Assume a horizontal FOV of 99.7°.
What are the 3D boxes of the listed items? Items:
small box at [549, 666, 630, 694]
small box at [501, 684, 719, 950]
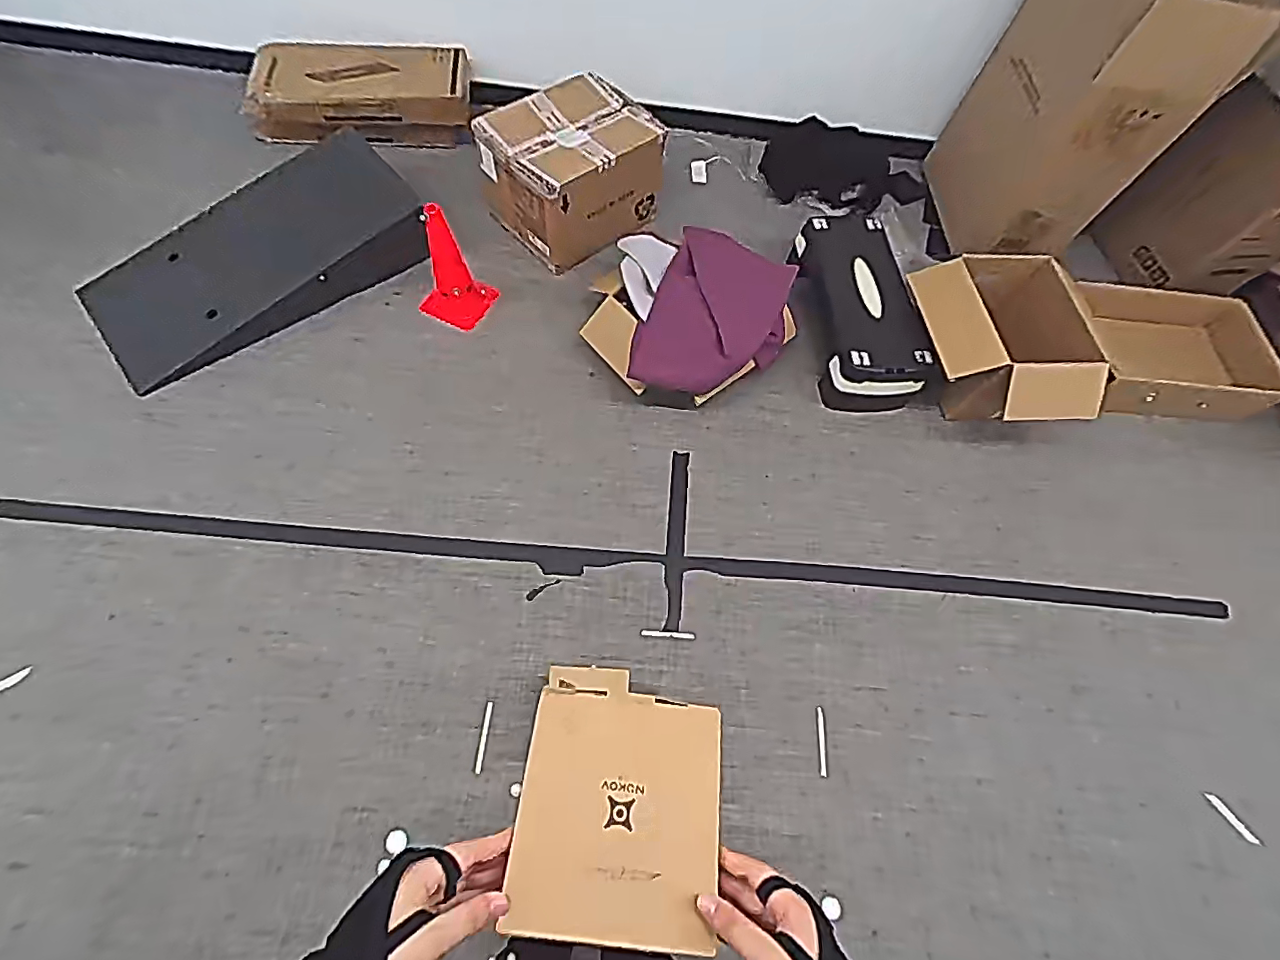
[{"bbox_3d":[-0.117,0.519,1.214,0.179,0.176,0.168,4,64,-4],"label":"small box"},{"bbox_3d":[-0.023,0.312,0.514,0.168,0.176,0.179,7,57,-1],"label":"small box"}]
